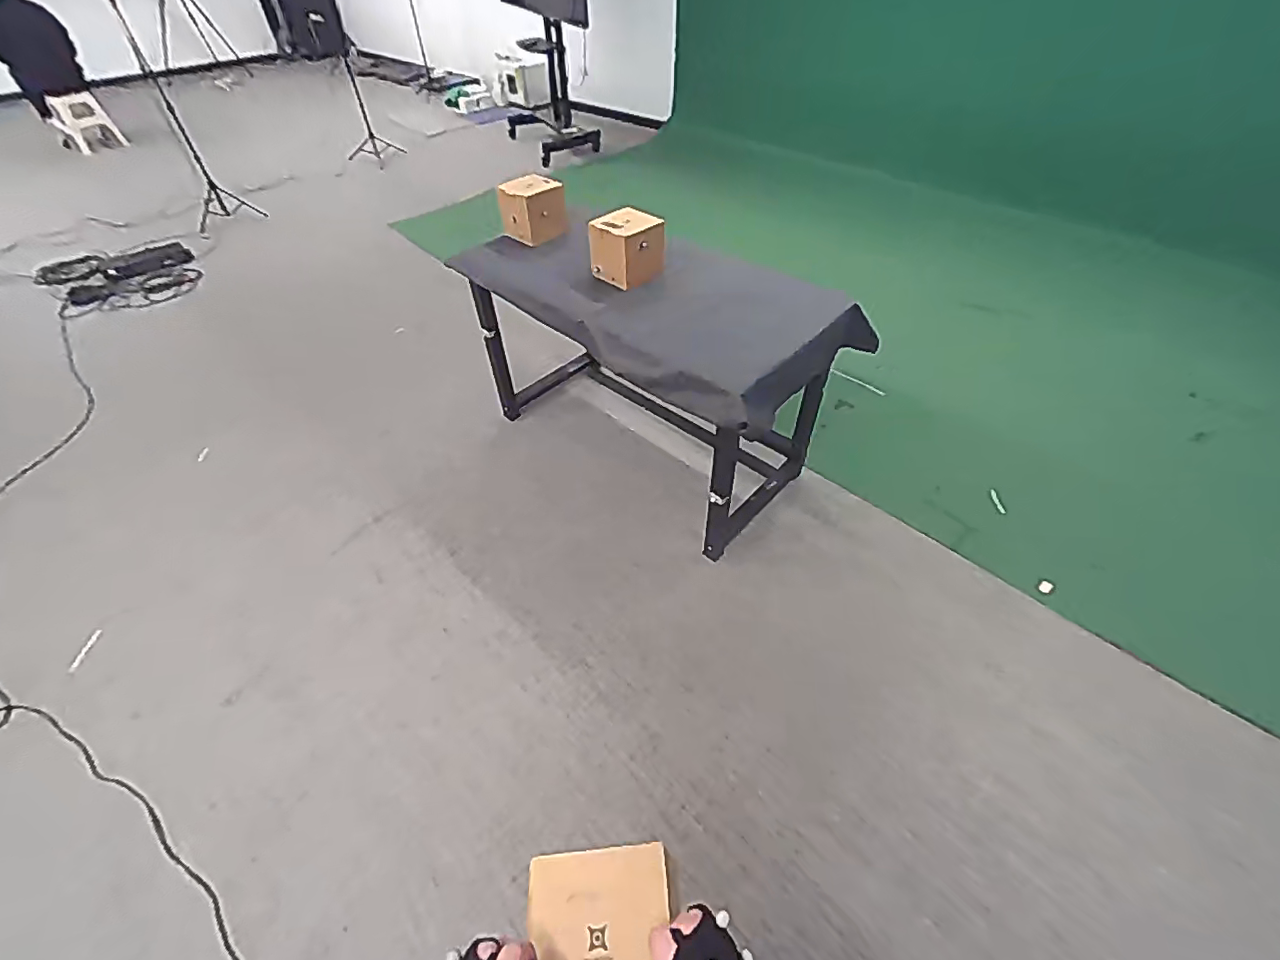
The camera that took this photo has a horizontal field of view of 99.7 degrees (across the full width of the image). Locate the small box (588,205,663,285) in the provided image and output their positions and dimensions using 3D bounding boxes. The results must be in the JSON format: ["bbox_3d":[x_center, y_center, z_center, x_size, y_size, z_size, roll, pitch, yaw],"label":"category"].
[{"bbox_3d":[-0.042,-0.741,1.710,0.168,0.176,0.179,35,56,29],"label":"small box"}]

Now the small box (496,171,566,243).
[{"bbox_3d":[-0.384,-0.977,1.937,0.168,0.176,0.179,35,57,27],"label":"small box"}]
